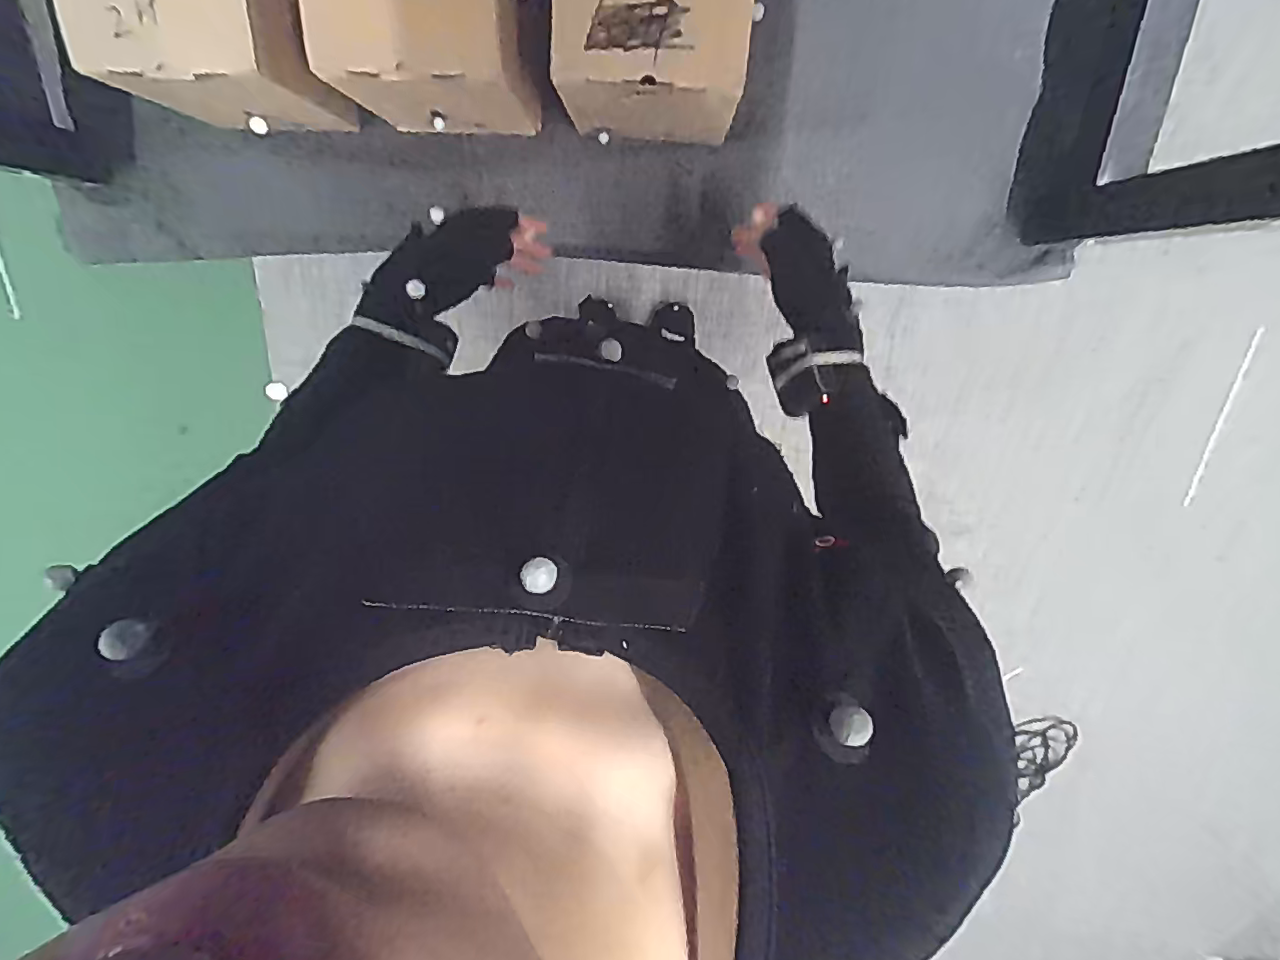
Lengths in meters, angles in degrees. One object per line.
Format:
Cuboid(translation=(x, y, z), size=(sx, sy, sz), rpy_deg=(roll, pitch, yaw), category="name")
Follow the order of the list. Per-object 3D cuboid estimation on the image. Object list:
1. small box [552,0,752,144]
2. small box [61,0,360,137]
Cuboid(translation=(0.016, -0.440, 0.510), size=(0.168, 0.176, 0.179), rpy_deg=(5, 108, 0), category="small box")
Cuboid(translation=(-0.397, -0.455, 0.517), size=(0.168, 0.176, 0.179), rpy_deg=(2, 109, 1), category="small box")
